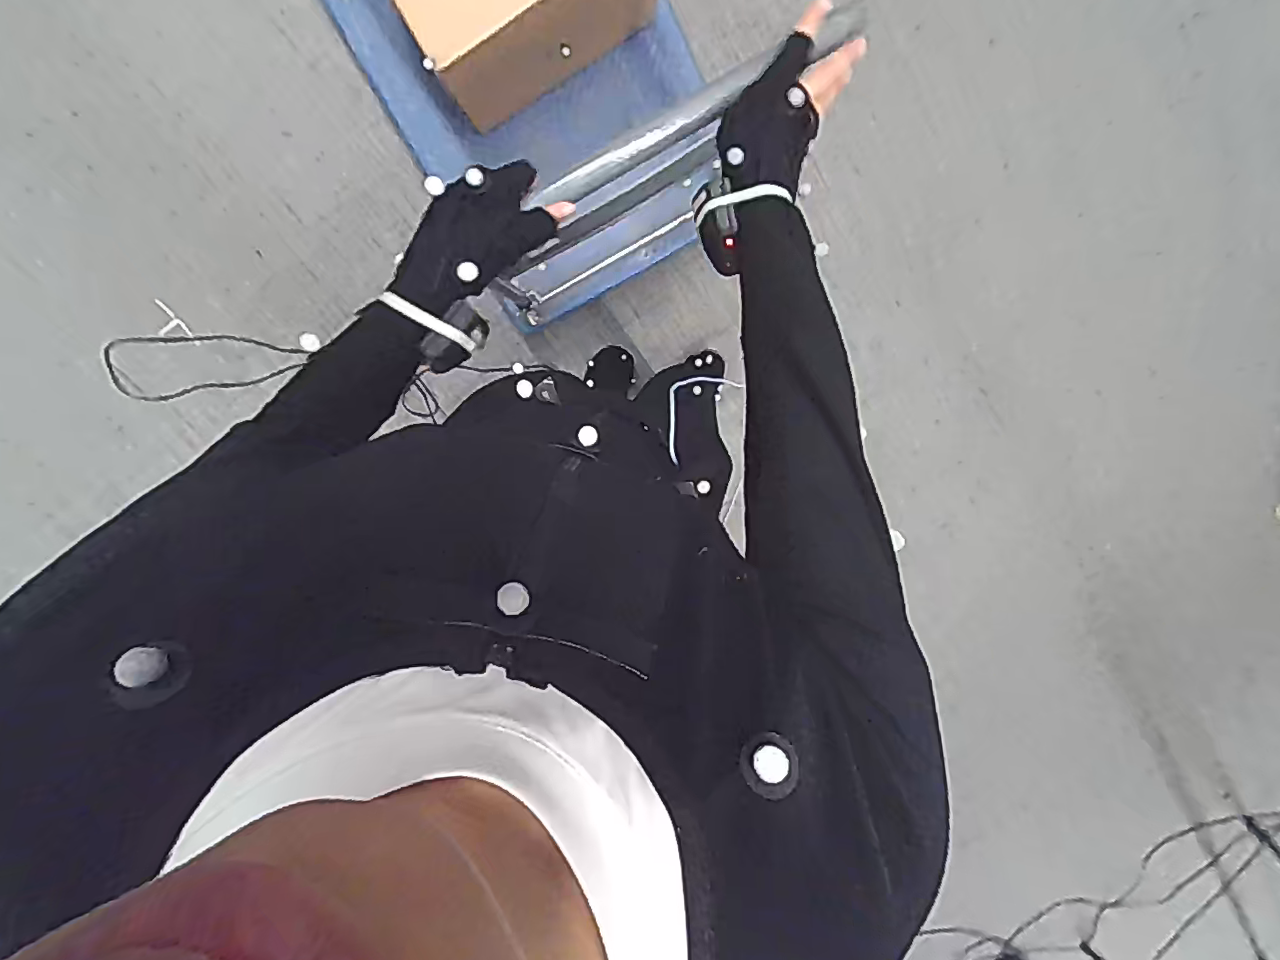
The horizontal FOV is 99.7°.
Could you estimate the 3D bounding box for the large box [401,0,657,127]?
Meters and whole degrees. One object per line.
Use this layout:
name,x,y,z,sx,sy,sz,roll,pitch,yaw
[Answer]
large box,-0.205,-0.877,0.876,0.408,0.320,0.320,-30,106,7
